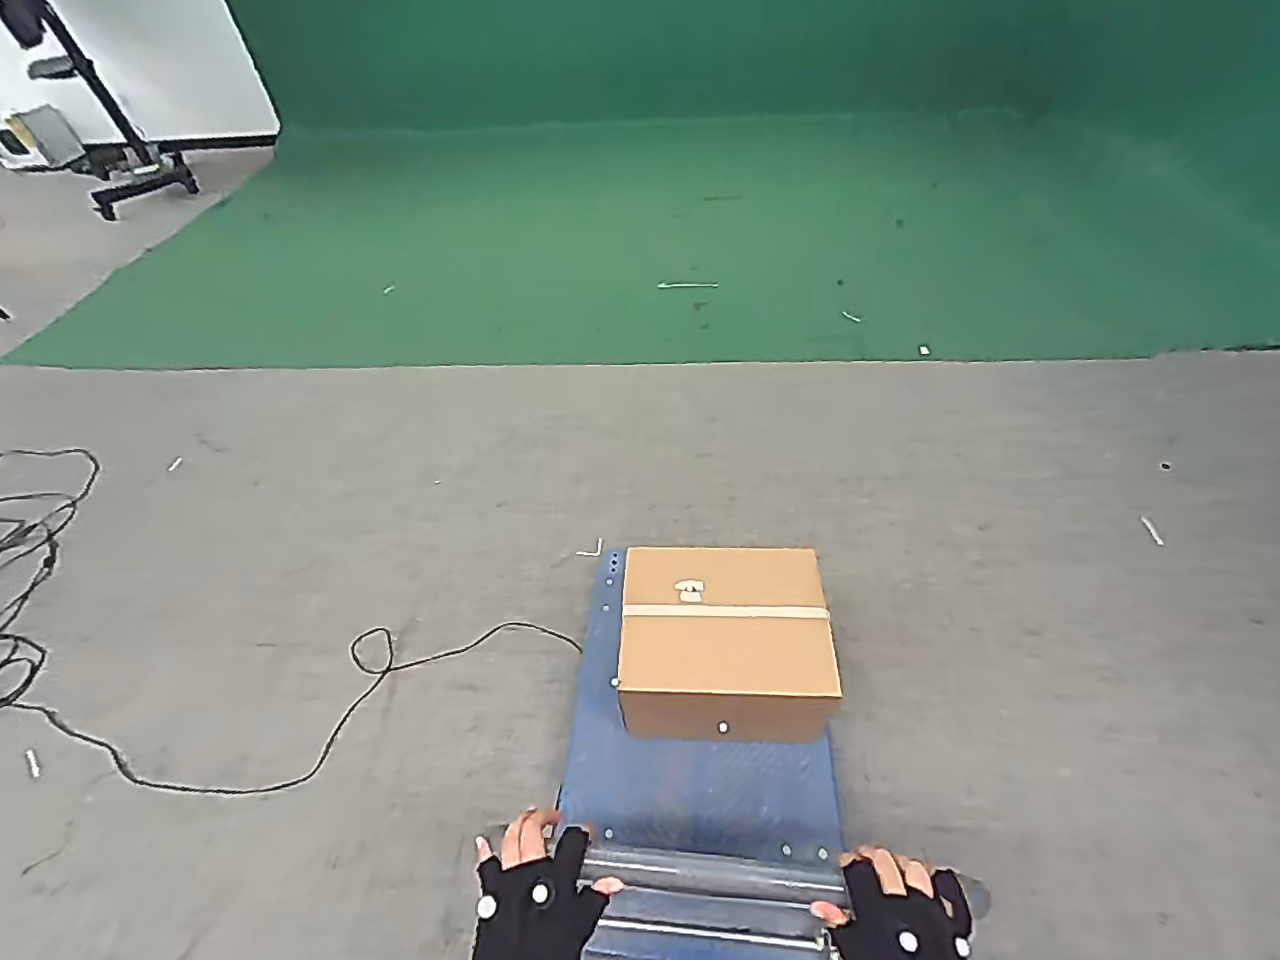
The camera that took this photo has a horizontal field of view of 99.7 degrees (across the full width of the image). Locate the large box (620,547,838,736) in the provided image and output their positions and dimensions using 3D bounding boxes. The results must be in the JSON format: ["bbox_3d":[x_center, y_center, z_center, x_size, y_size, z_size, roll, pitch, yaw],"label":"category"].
[{"bbox_3d":[0.176,0.361,1.192,0.408,0.320,0.320,0,49,4],"label":"large box"}]
